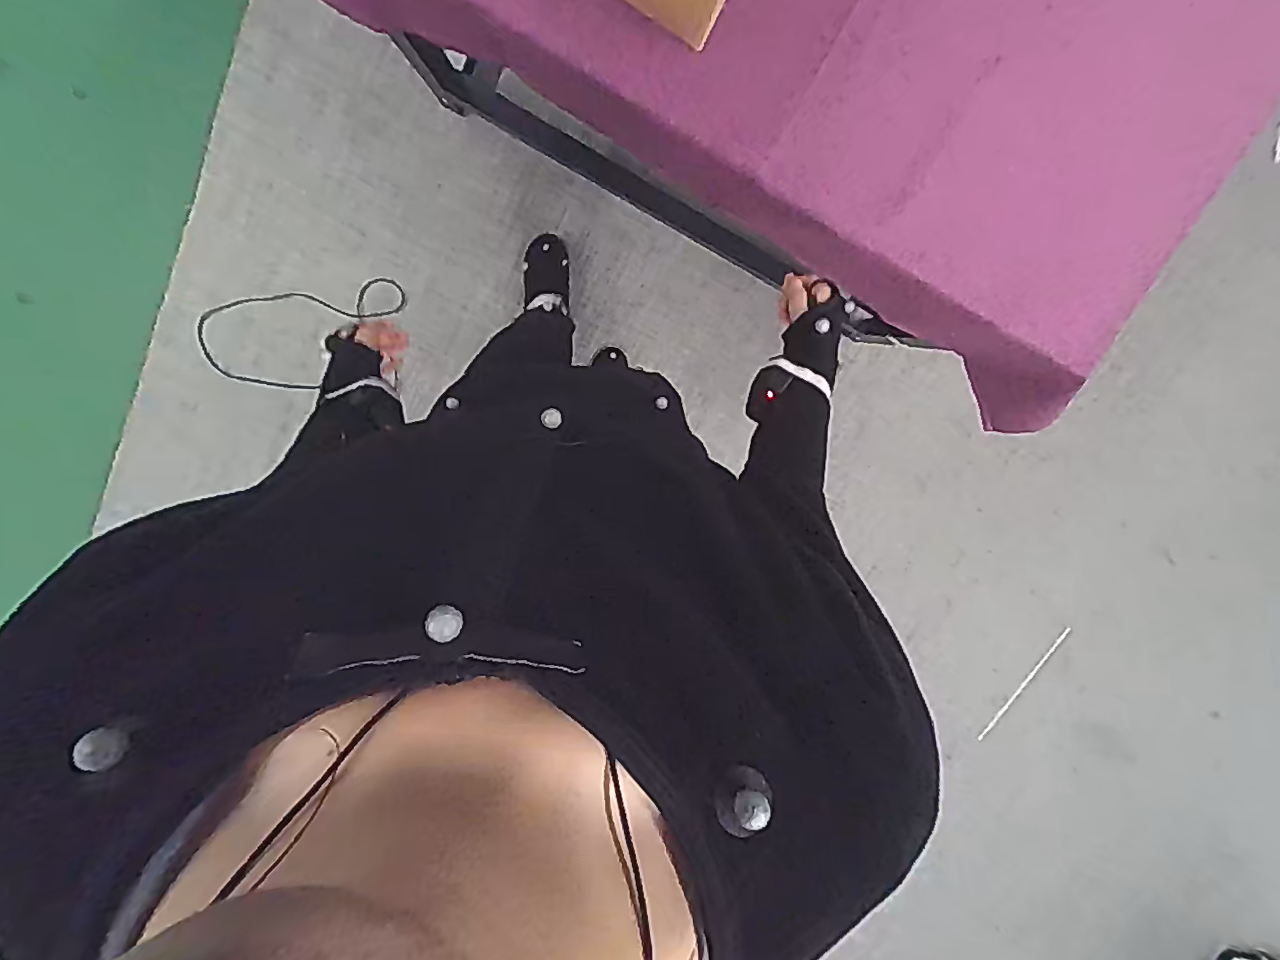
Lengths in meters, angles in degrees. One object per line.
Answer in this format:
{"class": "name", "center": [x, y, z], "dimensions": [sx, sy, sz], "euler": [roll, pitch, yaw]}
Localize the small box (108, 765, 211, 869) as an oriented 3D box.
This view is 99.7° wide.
{"class": "small box", "center": [-1.385, 0.956, 1.546], "dimensions": [0.179, 0.176, 0.168], "euler": [24, 101, -11]}
